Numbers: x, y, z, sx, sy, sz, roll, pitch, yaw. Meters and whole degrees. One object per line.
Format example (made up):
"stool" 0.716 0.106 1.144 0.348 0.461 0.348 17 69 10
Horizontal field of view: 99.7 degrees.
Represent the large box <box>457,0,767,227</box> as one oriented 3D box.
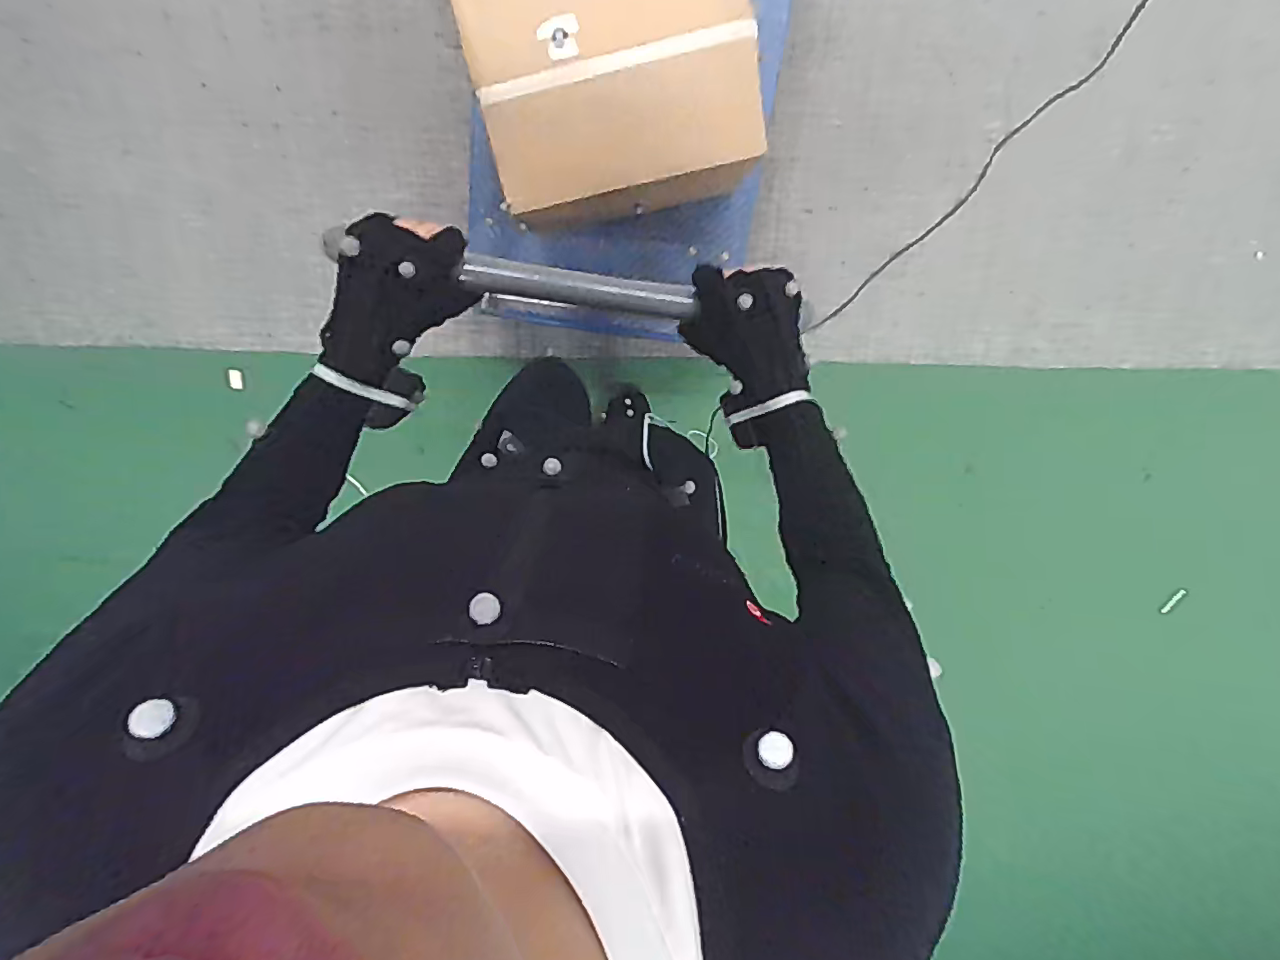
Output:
"large box" -0.033 -0.647 0.913 0.408 0.320 0.320 -11 108 4
